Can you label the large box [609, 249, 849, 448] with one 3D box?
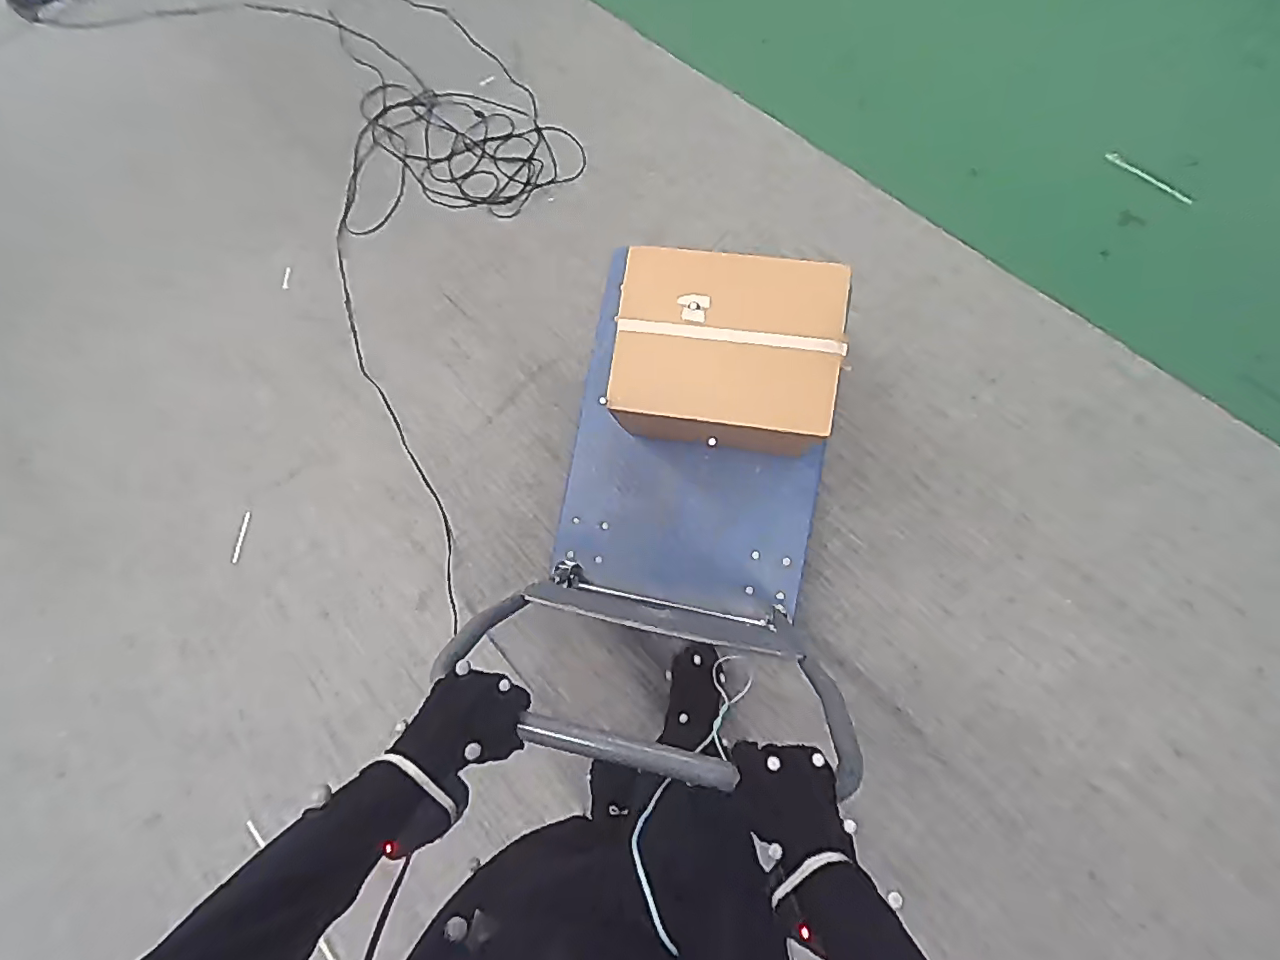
[{"bbox_3d":[0.177,-0.249,1.116,0.408,0.320,0.320,8,87,8],"label":"large box"}]
